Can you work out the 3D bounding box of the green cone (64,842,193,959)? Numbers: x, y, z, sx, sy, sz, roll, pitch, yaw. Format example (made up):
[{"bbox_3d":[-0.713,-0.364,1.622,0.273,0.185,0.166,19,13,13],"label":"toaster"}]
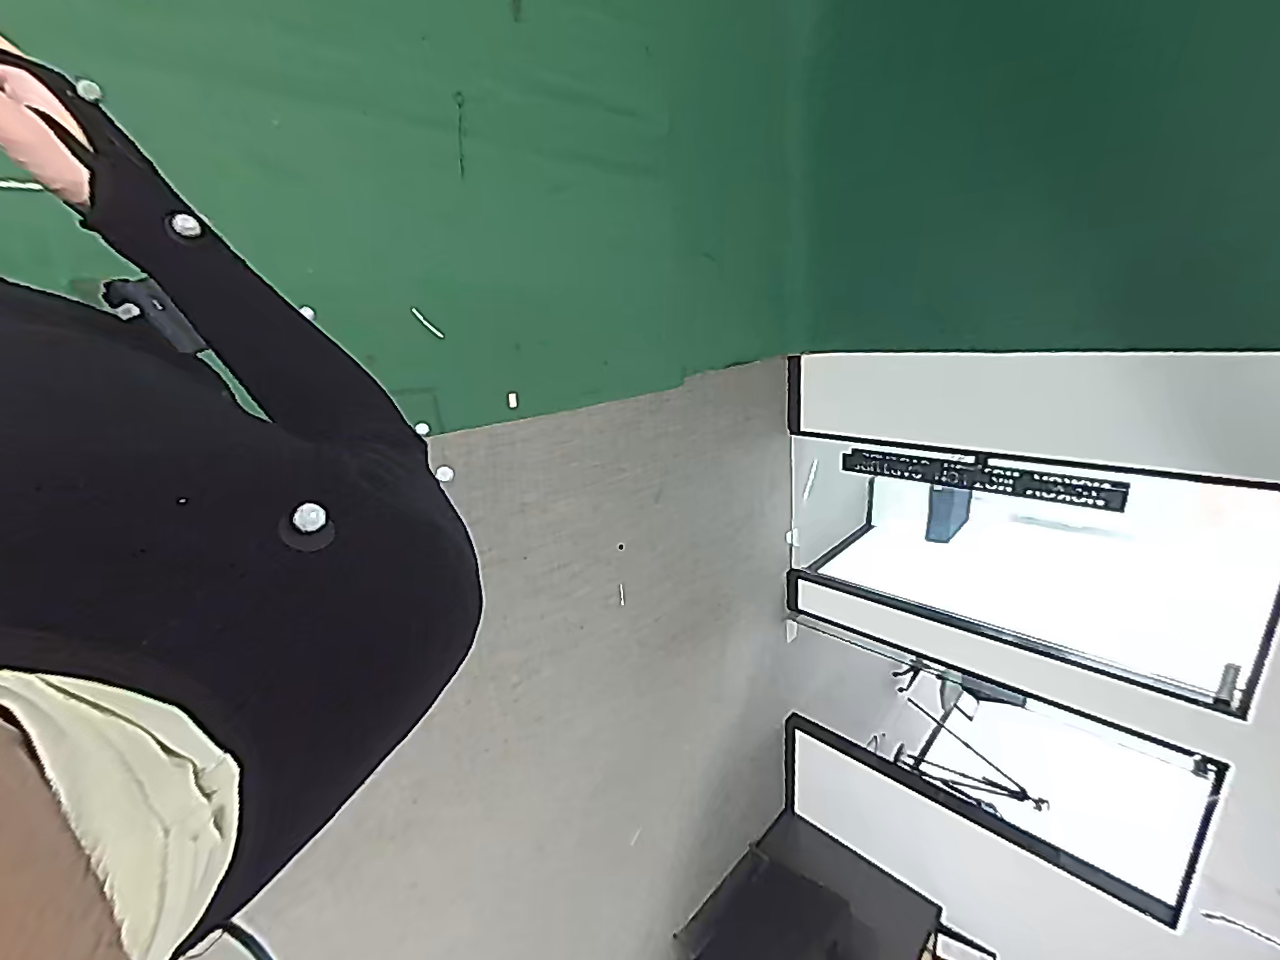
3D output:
[{"bbox_3d":[-1.129,1.049,1.208,0.202,0.368,0.200,-19,112,-41],"label":"green cone"}]
